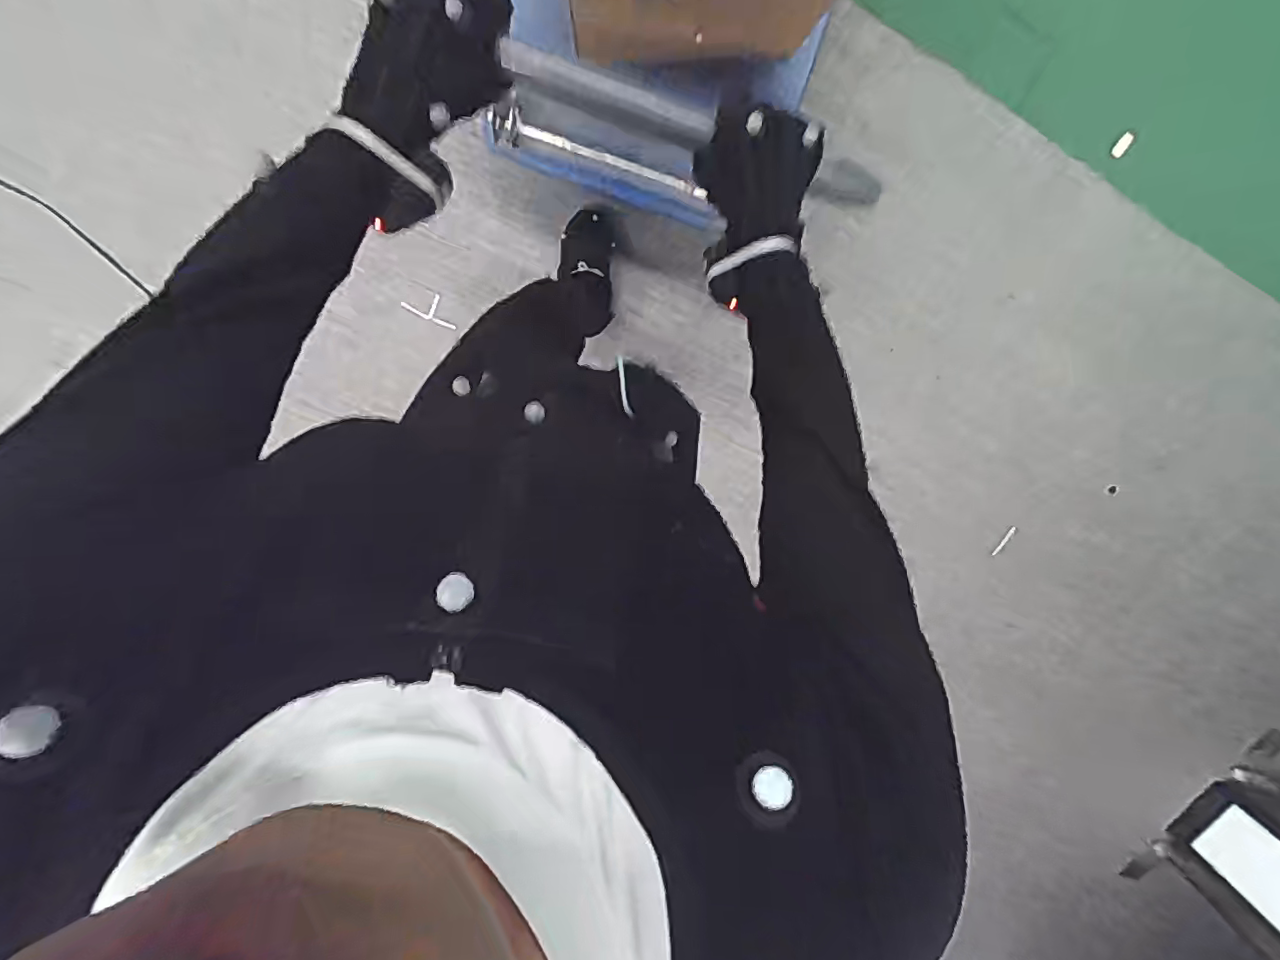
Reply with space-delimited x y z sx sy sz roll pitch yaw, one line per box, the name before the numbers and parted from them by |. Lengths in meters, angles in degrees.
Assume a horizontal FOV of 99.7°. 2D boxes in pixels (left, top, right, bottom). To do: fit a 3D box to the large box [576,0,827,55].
large box | 0.094 -0.890 0.815 0.408 0.320 0.320 -4 110 -1
